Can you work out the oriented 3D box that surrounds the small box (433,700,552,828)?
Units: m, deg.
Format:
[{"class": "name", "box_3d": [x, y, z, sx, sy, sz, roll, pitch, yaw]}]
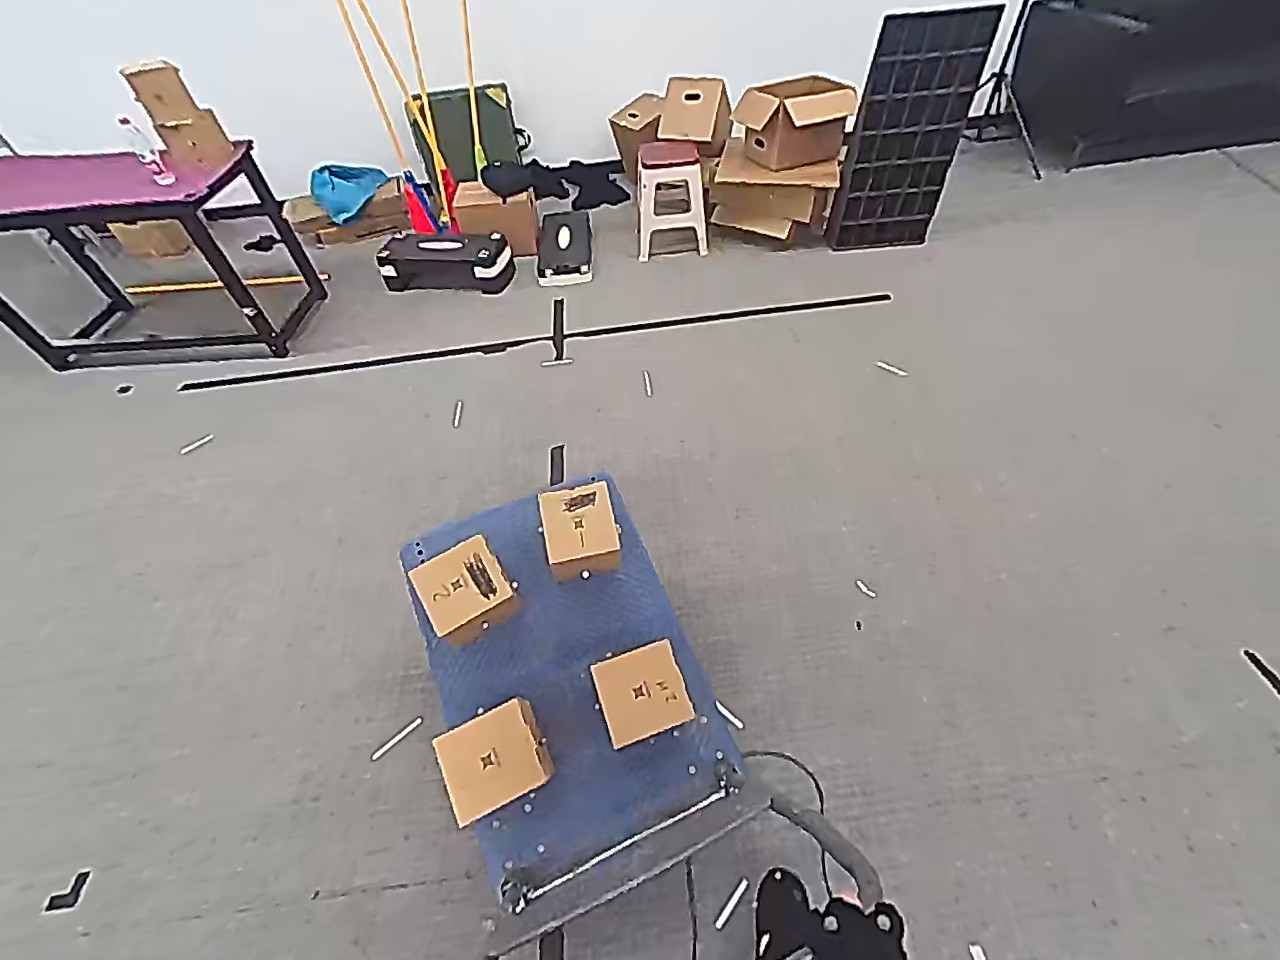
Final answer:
[{"class": "small box", "box_3d": [-0.293, 0.573, 1.102, 0.179, 0.176, 0.168, -23, 69, -15]}]

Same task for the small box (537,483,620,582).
[{"class": "small box", "box_3d": [-0.150, 0.131, 1.315, 0.168, 0.176, 0.179, -11, 67, -8]}]

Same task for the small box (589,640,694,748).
[{"class": "small box", "box_3d": [-0.001, 0.465, 1.169, 0.179, 0.176, 0.168, -17, 68, -11]}]
